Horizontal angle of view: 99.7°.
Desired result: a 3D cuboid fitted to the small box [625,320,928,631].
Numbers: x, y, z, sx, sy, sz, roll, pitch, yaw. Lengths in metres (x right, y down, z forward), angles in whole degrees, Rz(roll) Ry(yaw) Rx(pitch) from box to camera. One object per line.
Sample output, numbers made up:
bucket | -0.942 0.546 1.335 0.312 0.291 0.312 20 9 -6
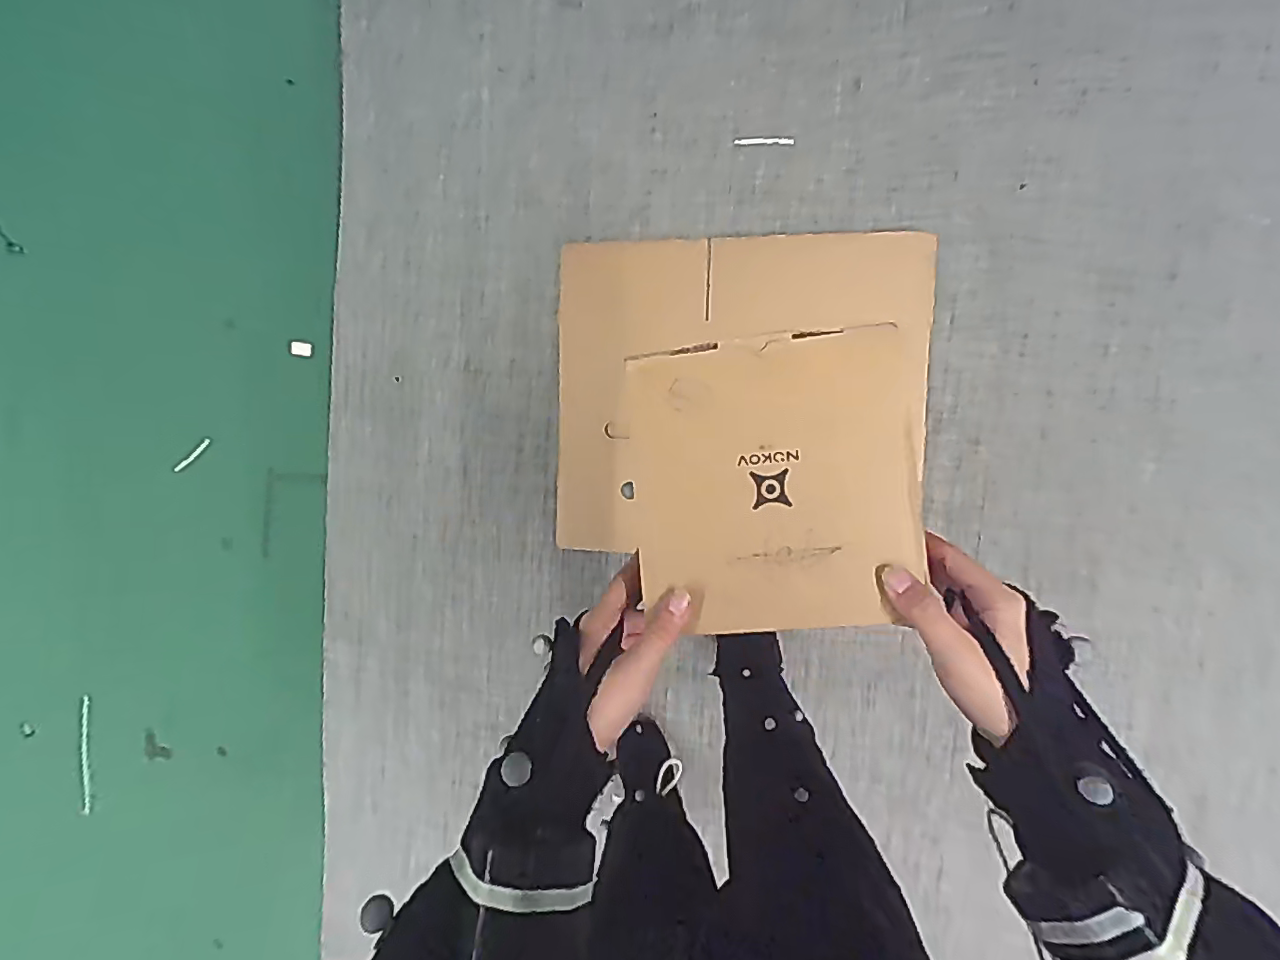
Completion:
small box | 0.089 0.003 0.401 0.168 0.176 0.179 -6 87 10
